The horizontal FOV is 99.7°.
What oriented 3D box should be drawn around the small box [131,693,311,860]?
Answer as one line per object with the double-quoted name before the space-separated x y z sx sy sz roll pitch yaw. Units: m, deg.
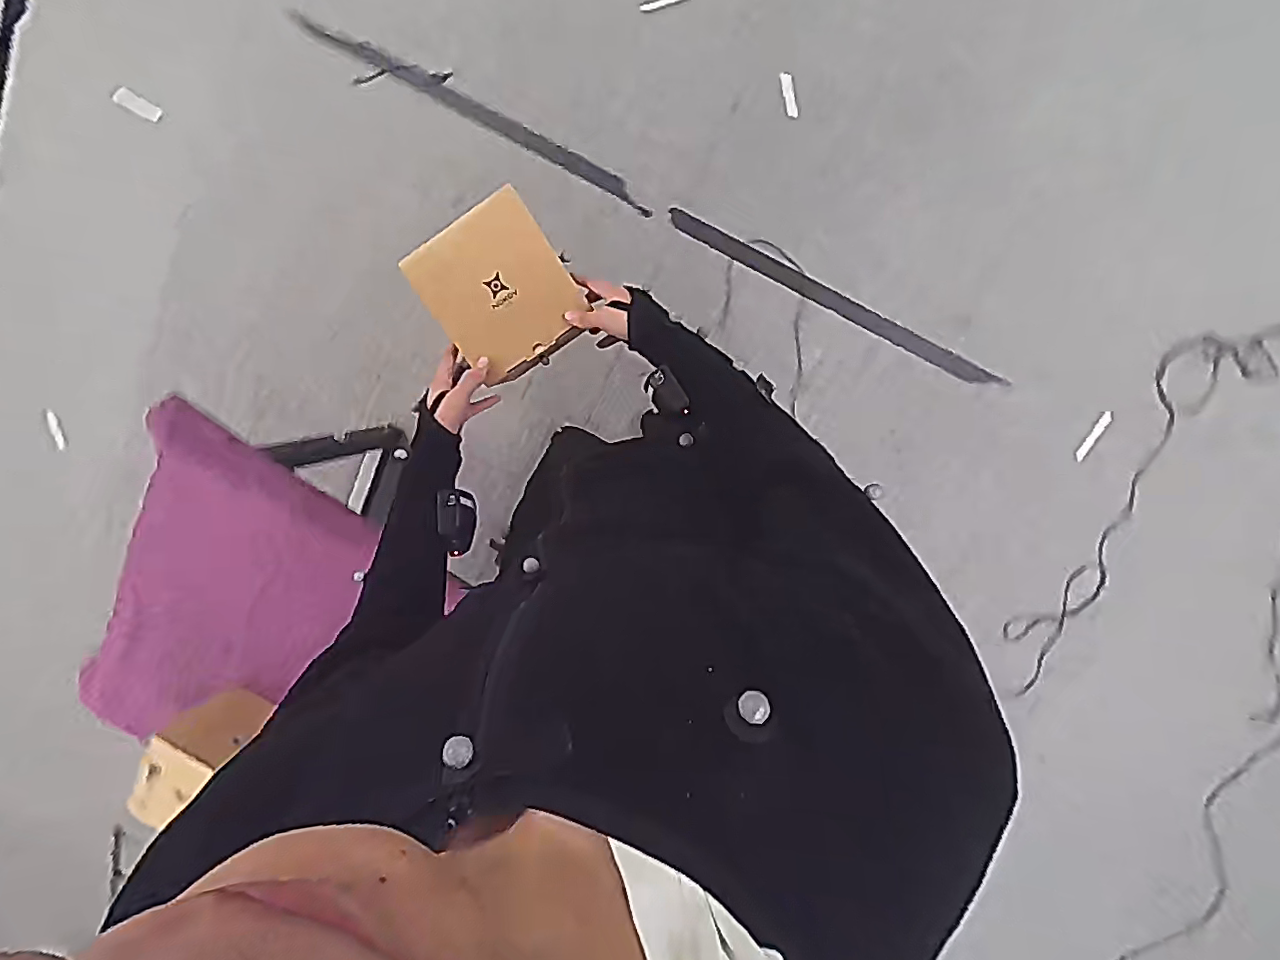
"small box" -0.744 0.523 0.979 0.179 0.176 0.168 28 100 0
